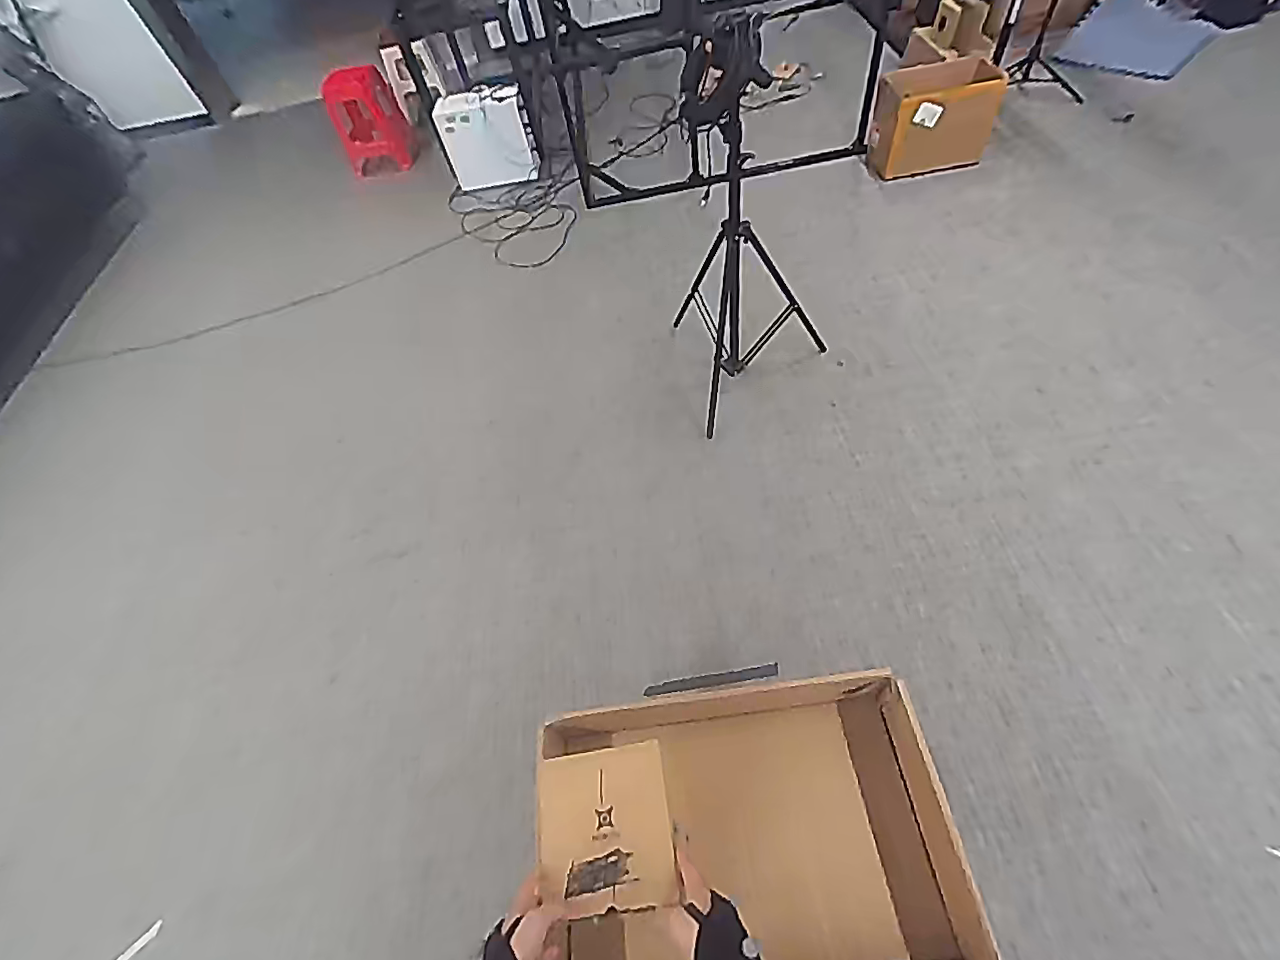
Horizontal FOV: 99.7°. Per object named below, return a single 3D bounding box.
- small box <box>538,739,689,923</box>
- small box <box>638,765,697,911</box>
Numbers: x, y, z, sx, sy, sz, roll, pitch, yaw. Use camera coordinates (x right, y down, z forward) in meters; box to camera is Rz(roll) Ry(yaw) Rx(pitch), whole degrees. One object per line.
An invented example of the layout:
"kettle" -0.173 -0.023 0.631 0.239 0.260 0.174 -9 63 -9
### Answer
"small box" -0.032 0.469 0.731 0.168 0.176 0.179 -12 55 3
"small box" -0.007 0.569 0.860 0.168 0.176 0.179 -11 56 4
